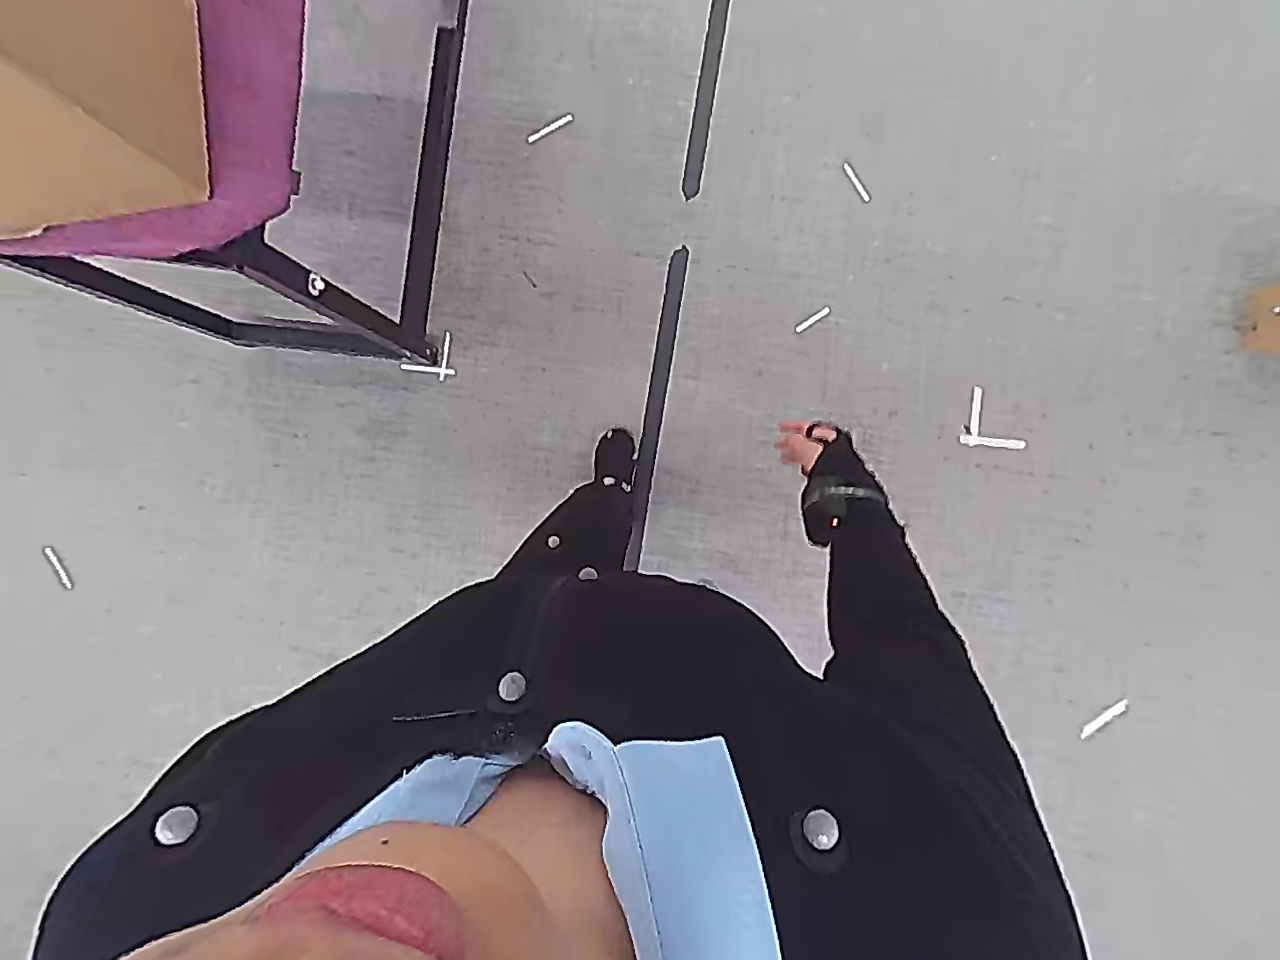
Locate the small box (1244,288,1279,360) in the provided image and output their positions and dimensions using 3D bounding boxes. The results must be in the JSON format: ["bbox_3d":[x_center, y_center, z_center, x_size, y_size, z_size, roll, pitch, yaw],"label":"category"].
[{"bbox_3d":[1.696,-0.400,1.360,0.179,0.176,0.168,6,89,1],"label":"small box"}]
